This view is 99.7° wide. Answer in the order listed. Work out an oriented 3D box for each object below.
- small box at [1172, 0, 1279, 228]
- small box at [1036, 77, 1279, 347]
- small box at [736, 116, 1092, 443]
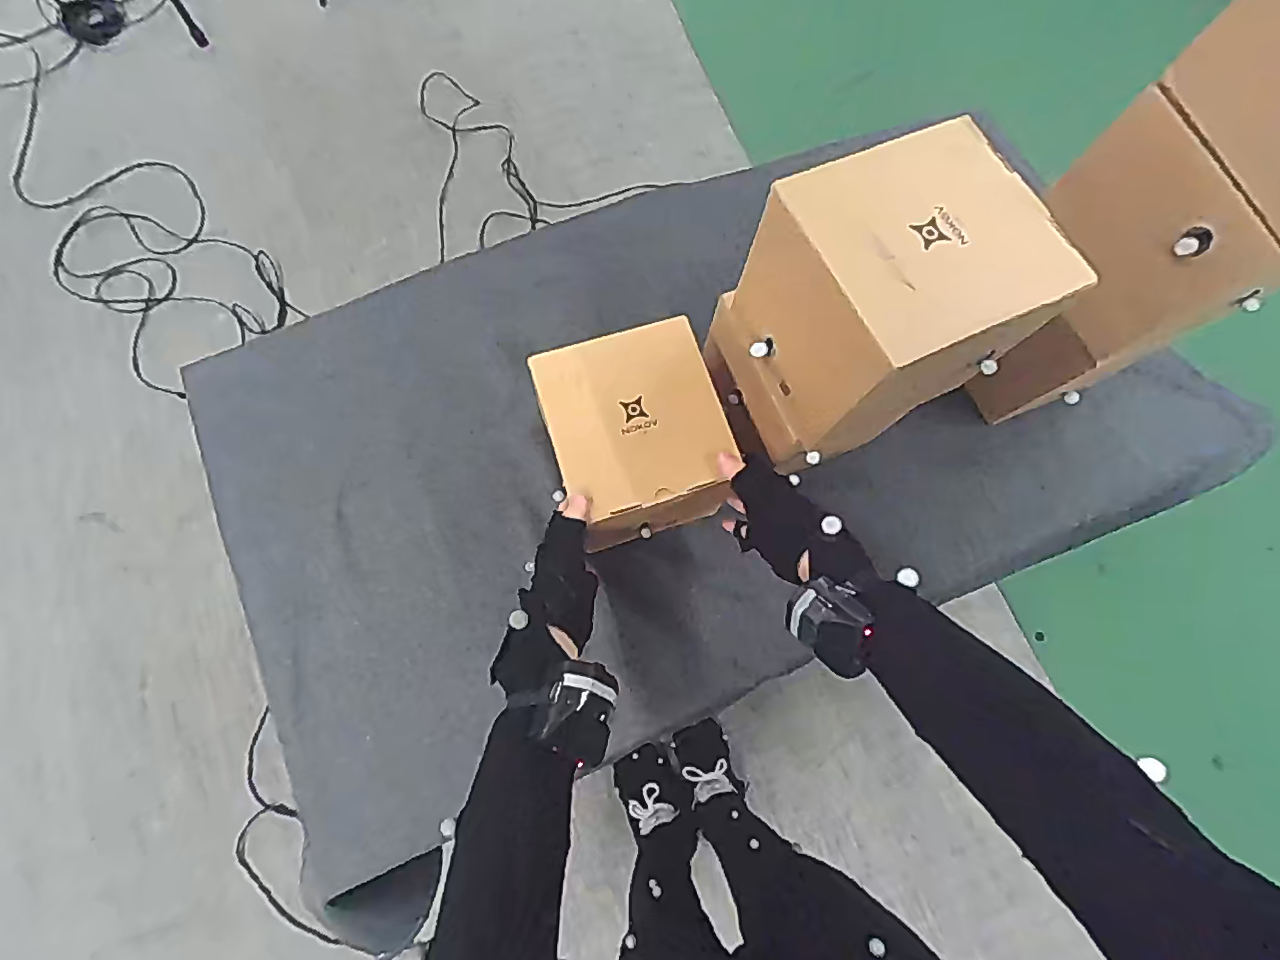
[{"bbox_3d":[0.518,-0.287,0.342,0.168,0.176,0.179,-17,75,-6],"label":"small box"},{"bbox_3d":[0.512,-0.244,0.501,0.168,0.176,0.179,-19,76,-8],"label":"small box"},{"bbox_3d":[0.206,-0.156,0.463,0.179,0.176,0.168,-23,76,-8],"label":"small box"}]
